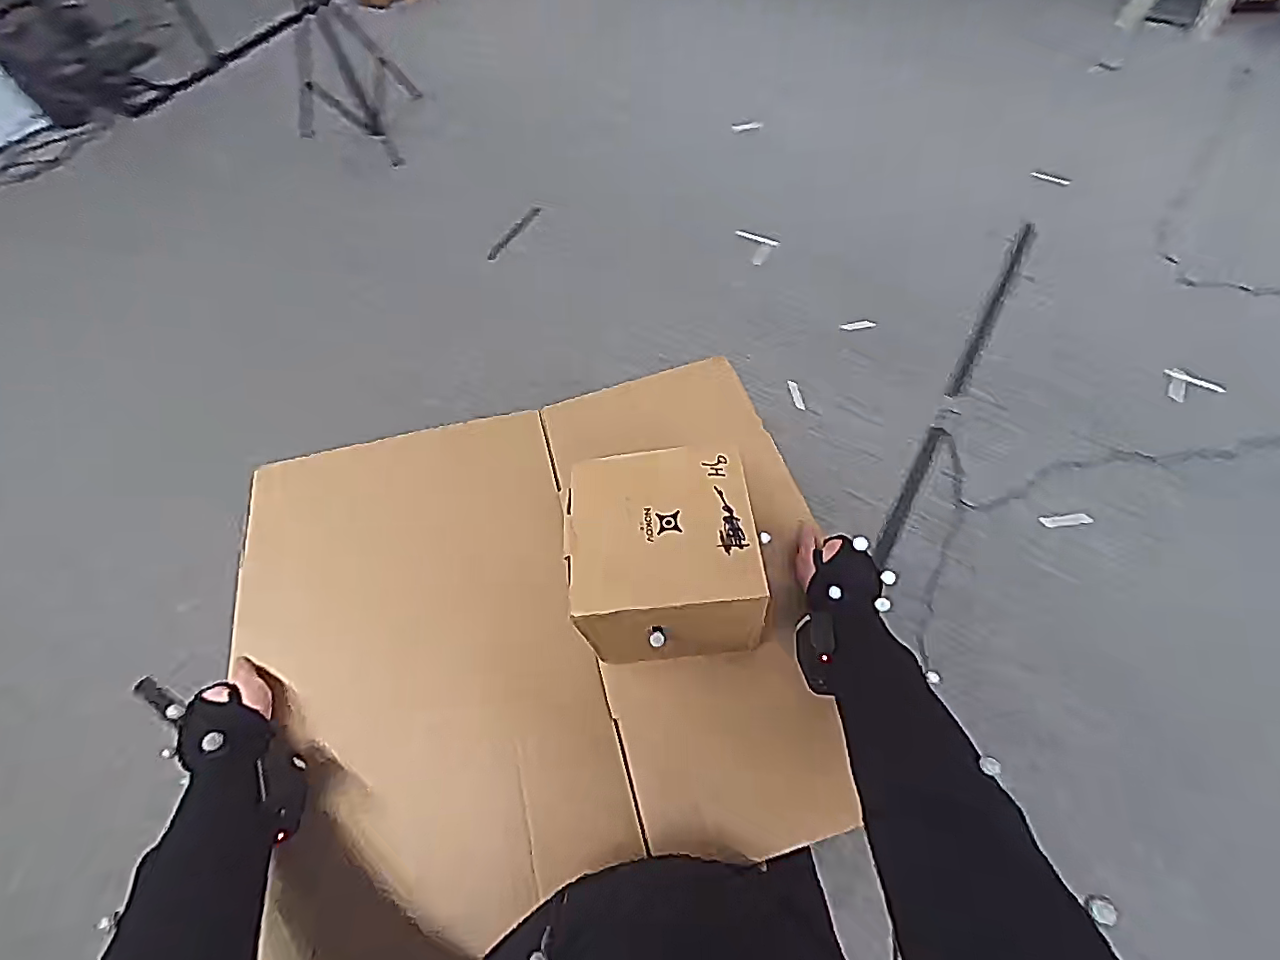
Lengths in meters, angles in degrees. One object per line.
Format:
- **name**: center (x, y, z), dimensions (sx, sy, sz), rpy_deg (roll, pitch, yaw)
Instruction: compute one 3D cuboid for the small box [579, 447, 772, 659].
- **small box**: center (0.040, 0.087, 0.583), dimensions (0.179, 0.176, 0.168), rpy_deg (-7, 57, 5)
